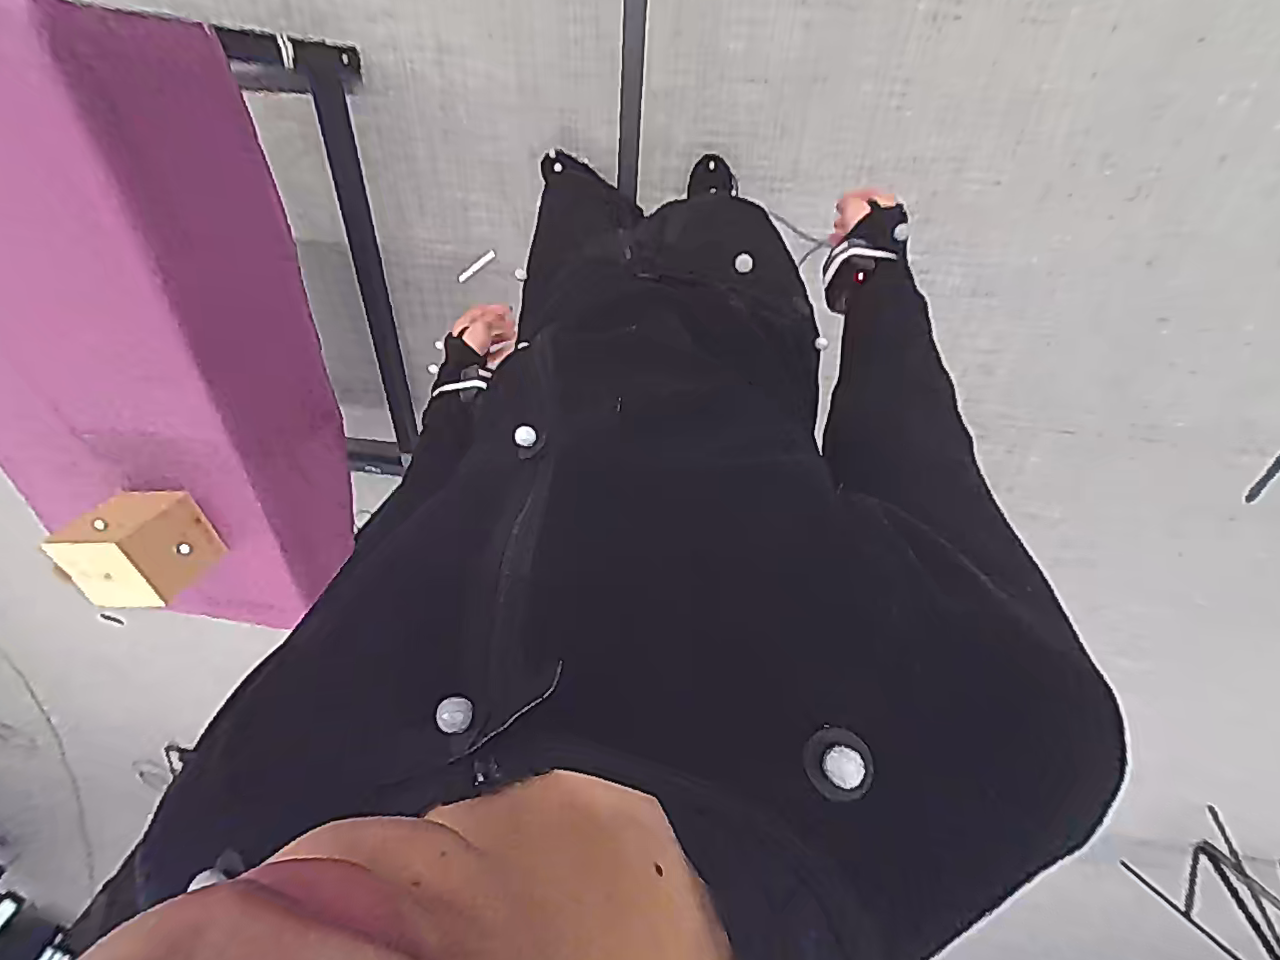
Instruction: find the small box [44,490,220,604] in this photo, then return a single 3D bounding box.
[{"bbox_3d":[-1.015,0.133,1.107,0.179,0.176,0.168,0,123,10],"label":"small box"}]
